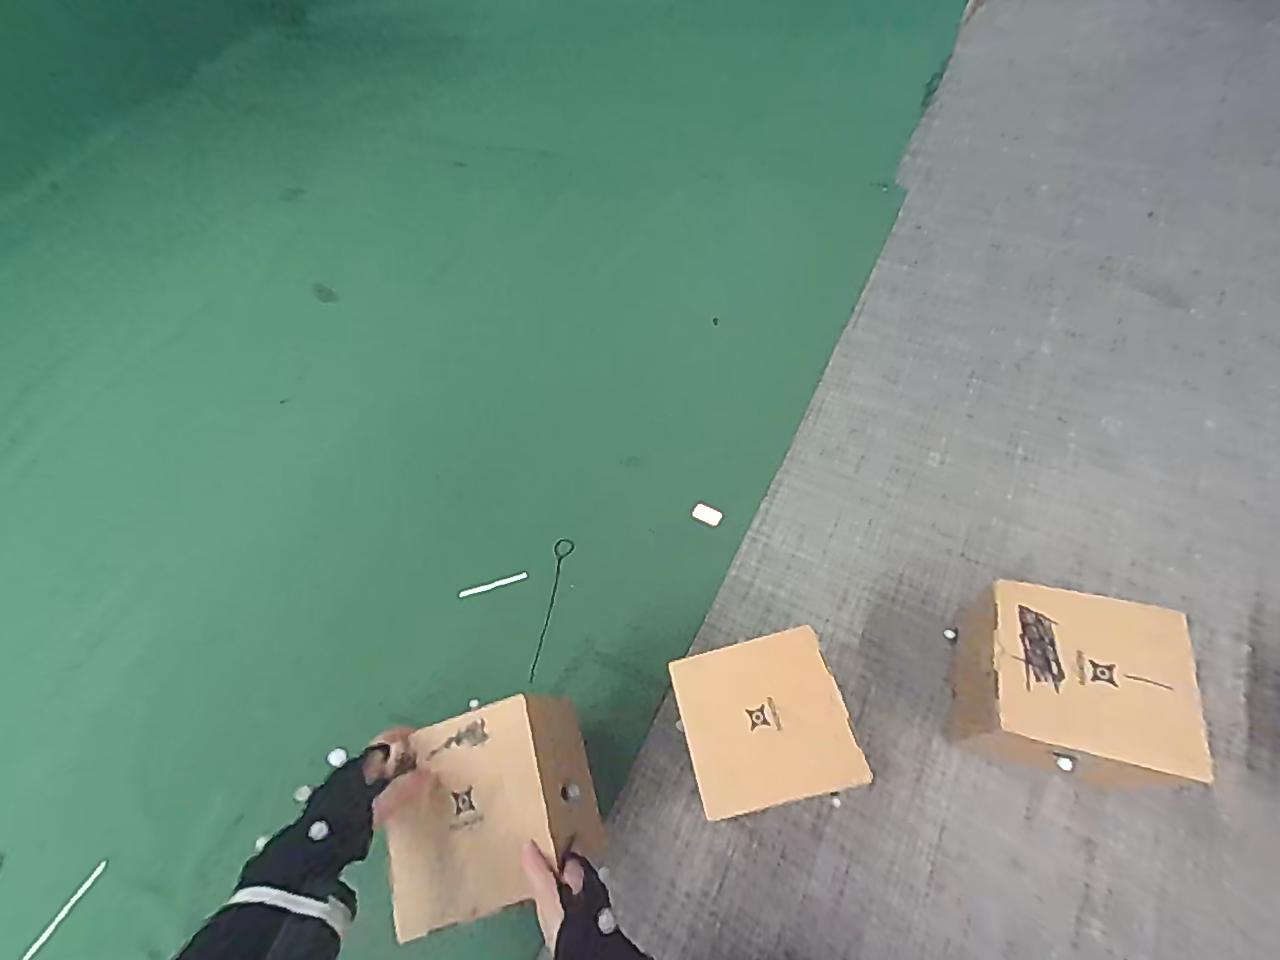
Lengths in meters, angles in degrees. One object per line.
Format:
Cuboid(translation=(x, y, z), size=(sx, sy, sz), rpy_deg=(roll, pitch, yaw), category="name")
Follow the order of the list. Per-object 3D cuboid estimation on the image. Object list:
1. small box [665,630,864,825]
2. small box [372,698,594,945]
Cuboid(translation=(0.143, 0.305, 0.653), size=(0.179, 0.176, 0.168), rpy_deg=(-17, 56, 2), category="small box")
Cuboid(translation=(-0.162, 0.351, 0.592), size=(0.168, 0.176, 0.179), rpy_deg=(-20, 65, 2), category="small box")
